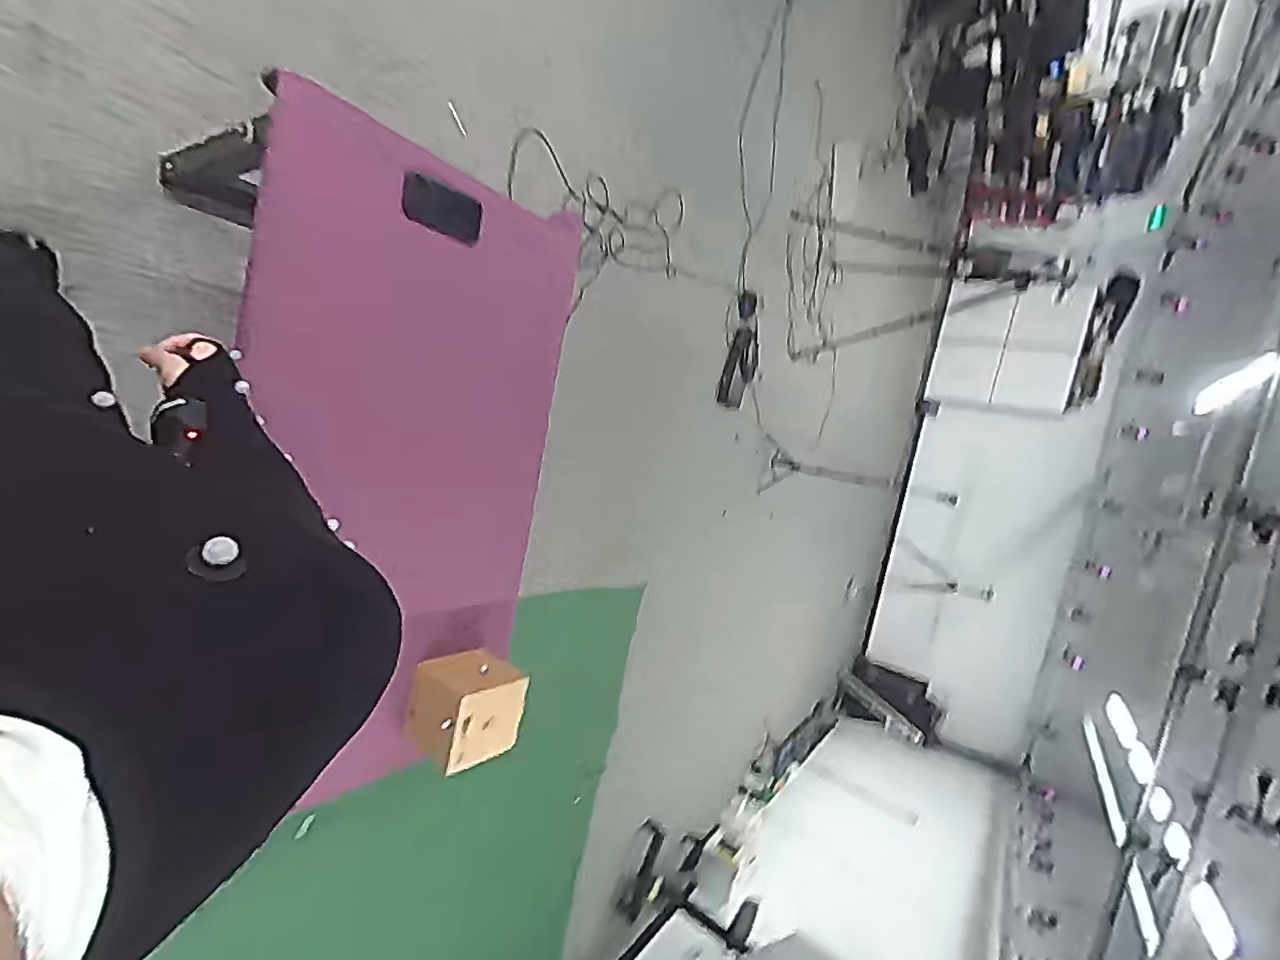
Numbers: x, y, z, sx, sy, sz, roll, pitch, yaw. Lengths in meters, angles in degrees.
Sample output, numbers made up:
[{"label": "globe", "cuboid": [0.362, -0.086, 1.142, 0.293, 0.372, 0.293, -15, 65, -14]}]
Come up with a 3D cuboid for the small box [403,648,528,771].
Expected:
[{"label": "small box", "cuboid": [-0.377, 0.482, 1.168, 0.179, 0.176, 0.168, 7, 96, -55]}]
